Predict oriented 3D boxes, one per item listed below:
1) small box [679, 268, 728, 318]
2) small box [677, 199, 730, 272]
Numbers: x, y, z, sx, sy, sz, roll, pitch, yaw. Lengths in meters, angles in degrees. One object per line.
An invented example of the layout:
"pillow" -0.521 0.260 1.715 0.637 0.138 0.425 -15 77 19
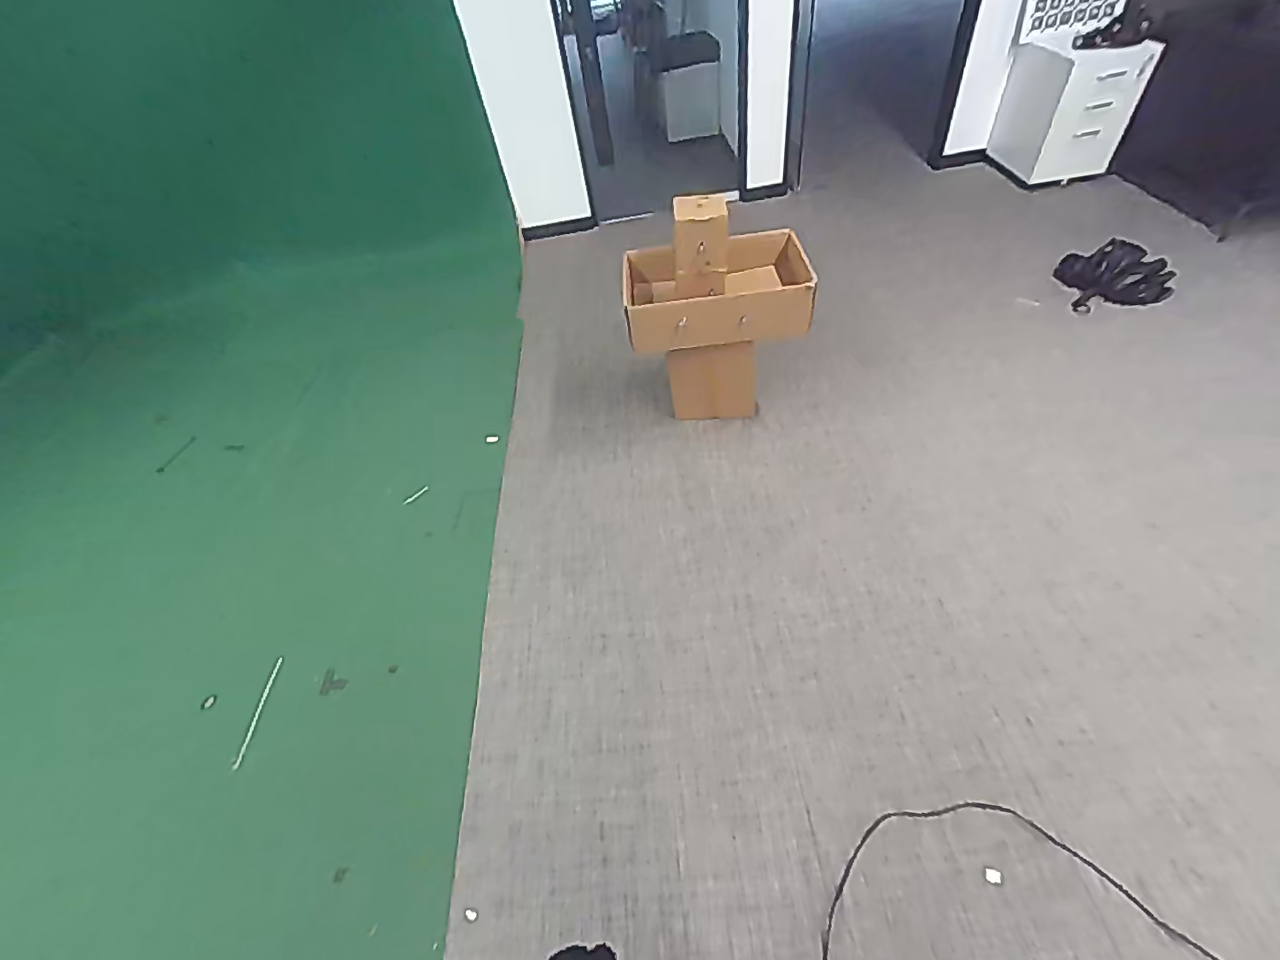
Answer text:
"small box" 0.221 -0.683 1.897 0.168 0.176 0.179 -2 46 4
"small box" 0.208 -0.801 1.783 0.168 0.176 0.179 -2 49 4
